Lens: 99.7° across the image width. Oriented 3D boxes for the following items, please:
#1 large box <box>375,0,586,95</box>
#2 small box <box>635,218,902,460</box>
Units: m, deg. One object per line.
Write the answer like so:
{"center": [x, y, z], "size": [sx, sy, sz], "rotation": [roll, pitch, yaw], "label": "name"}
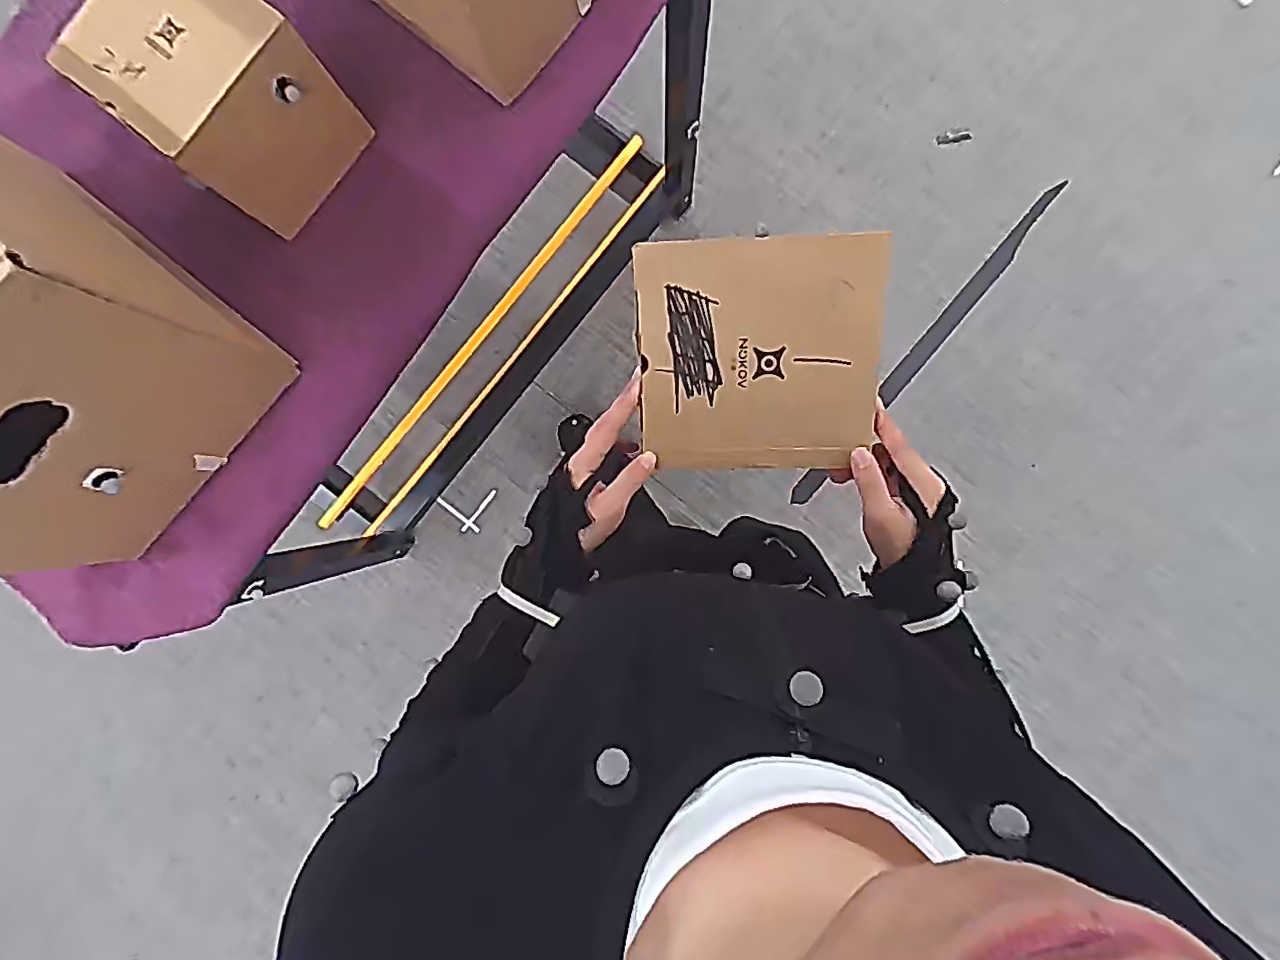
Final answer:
{"center": [-0.223, -0.696, 0.513], "size": [0.408, 0.320, 0.320], "rotation": [38, 90, 3], "label": "large box"}
{"center": [0.093, -0.119, 0.457], "size": [0.179, 0.176, 0.168], "rotation": [0, 110, 5], "label": "small box"}
